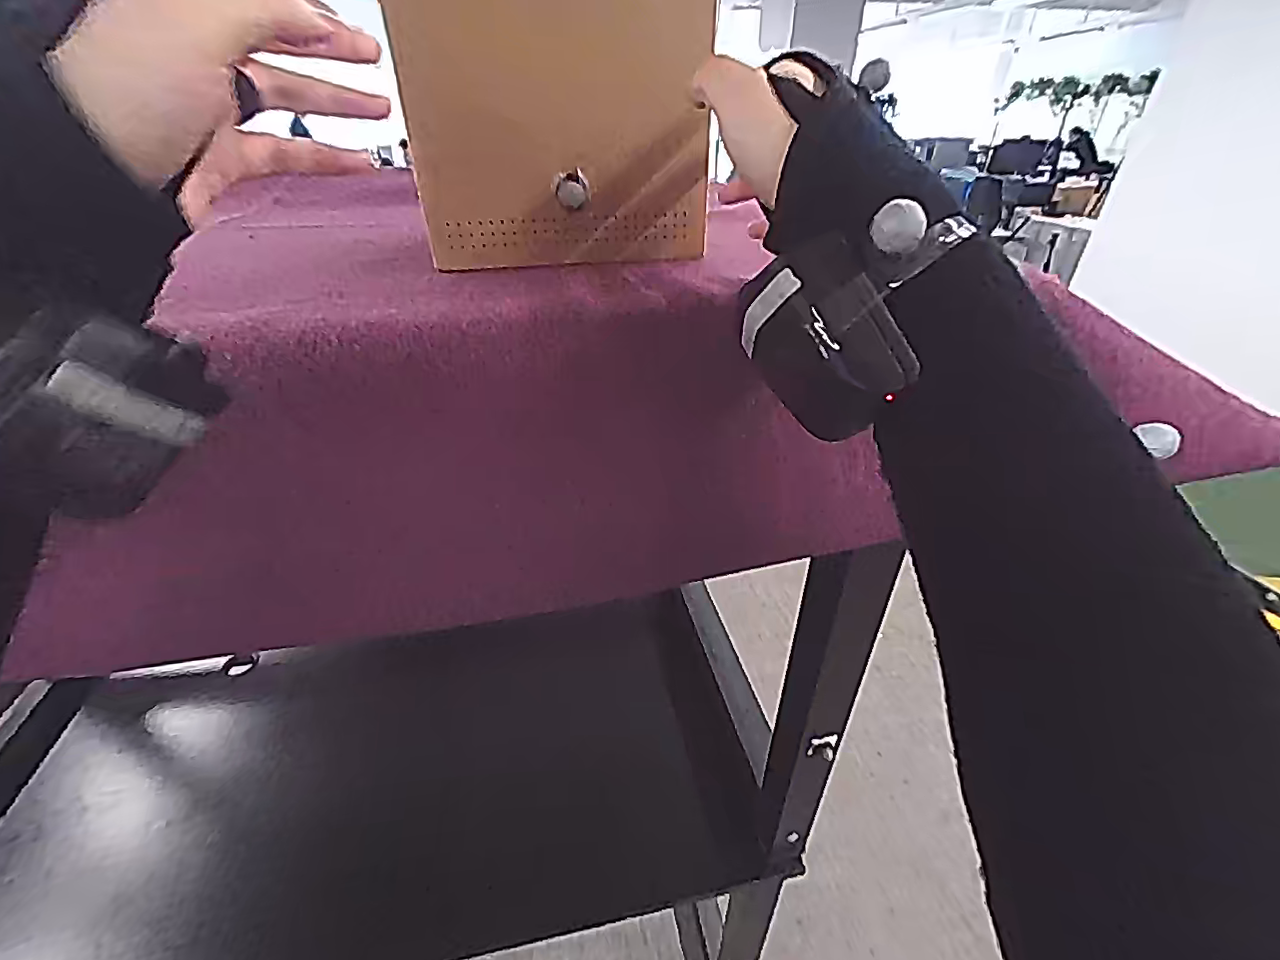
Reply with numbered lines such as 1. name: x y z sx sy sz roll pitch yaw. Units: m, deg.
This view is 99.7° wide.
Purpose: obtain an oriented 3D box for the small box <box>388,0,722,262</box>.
1. small box: -0.054 -0.253 0.366 0.179 0.176 0.168 -6 33 -9
